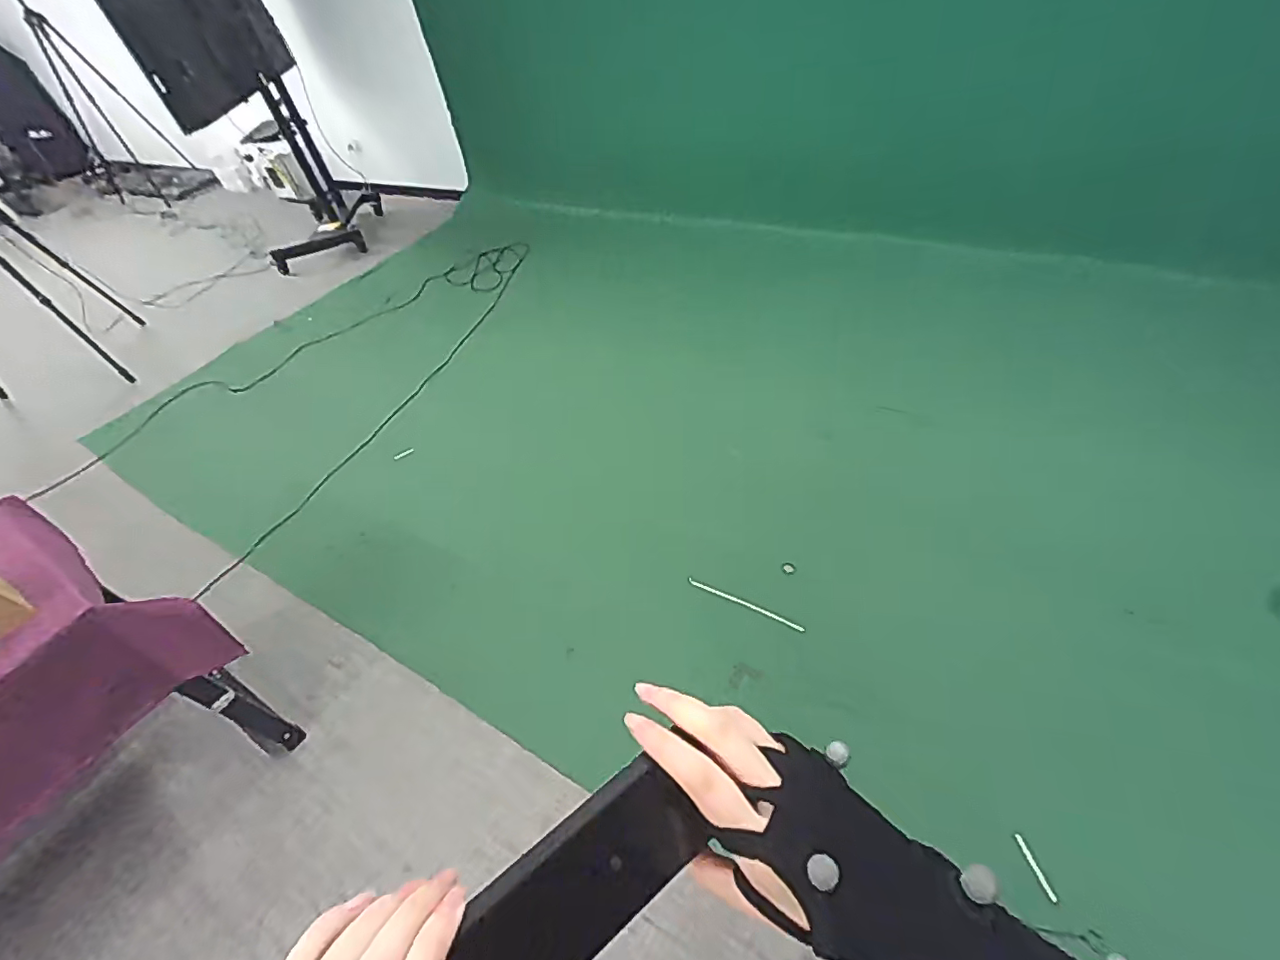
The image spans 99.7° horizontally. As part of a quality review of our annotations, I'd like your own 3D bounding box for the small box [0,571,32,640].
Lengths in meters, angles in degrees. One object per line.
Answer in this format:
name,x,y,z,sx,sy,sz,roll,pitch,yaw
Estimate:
small box,-1.256,0.225,0.958,0.168,0.176,0.179,19,54,26
